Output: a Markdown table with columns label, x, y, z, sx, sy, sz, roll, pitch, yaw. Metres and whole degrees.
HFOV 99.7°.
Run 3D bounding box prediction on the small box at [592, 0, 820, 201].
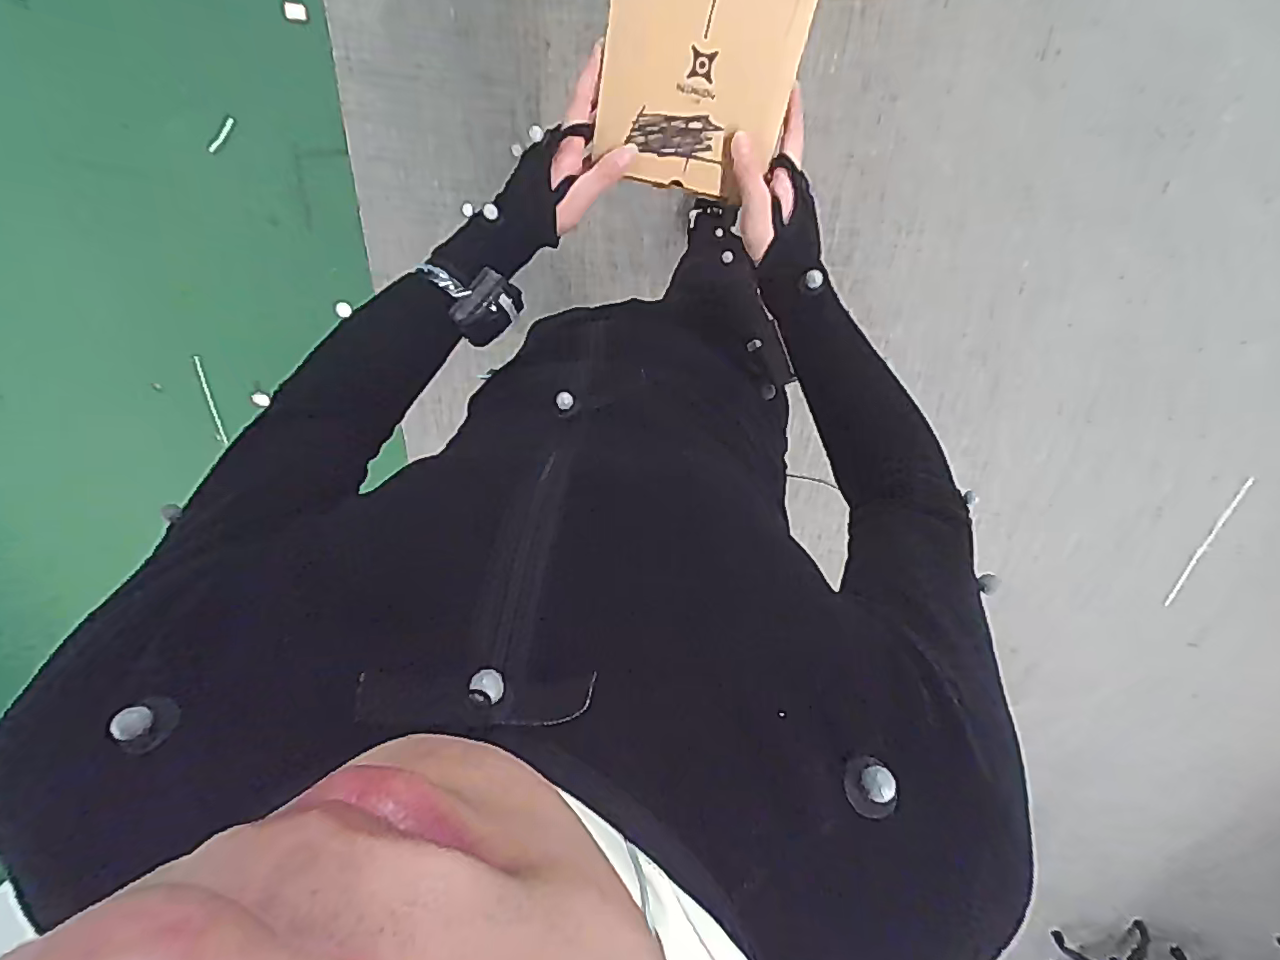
| label | x | y | z | sx | sy | sz | roll | pitch | yaw |
| --- | --- | --- | --- | --- | --- | --- | --- | --- | --- |
| small box | 0.052 | -0.393 | 0.523 | 0.168 | 0.176 | 0.179 | 9 | 124 | -7 |
